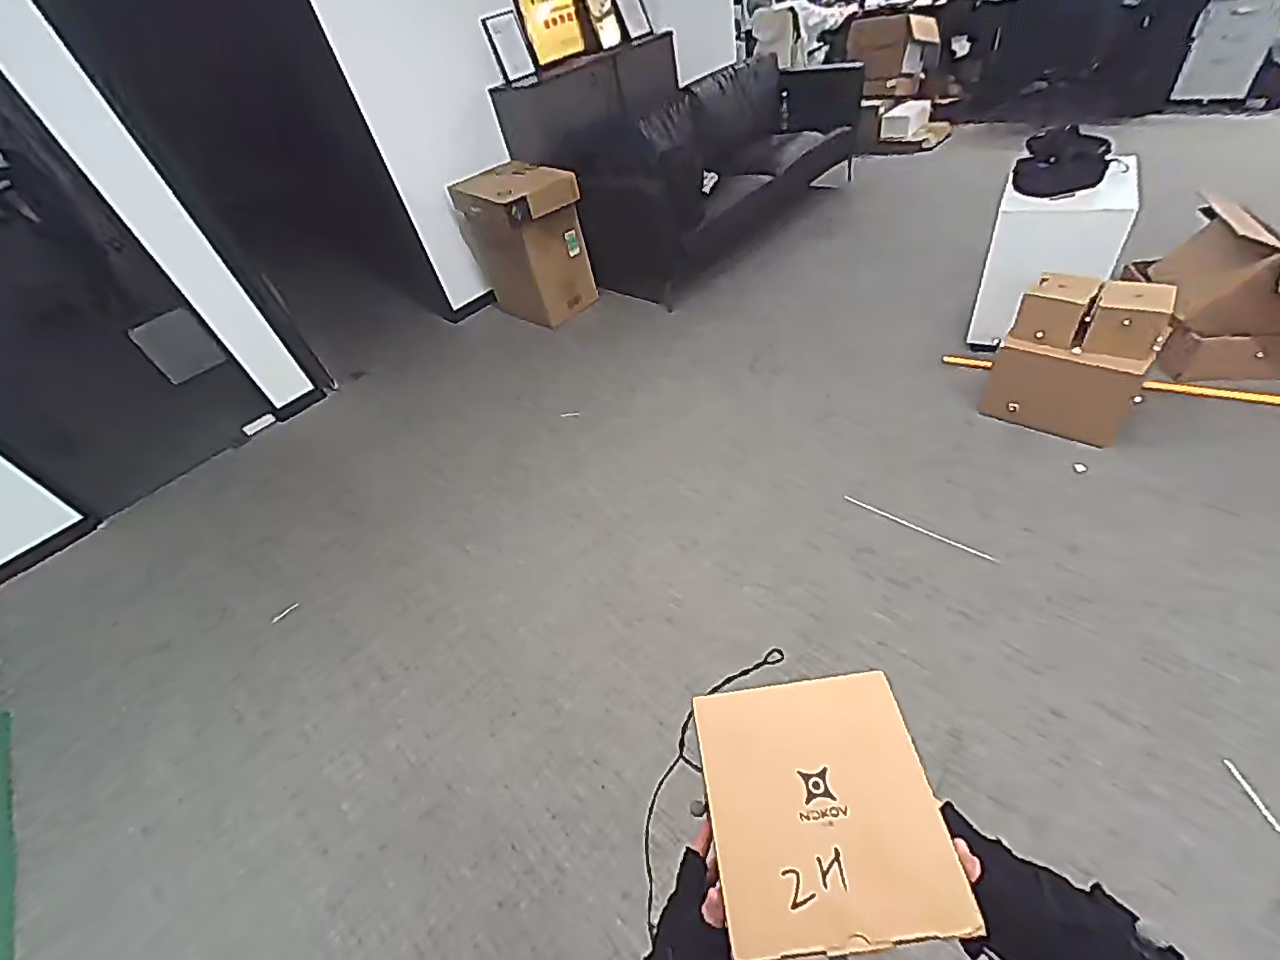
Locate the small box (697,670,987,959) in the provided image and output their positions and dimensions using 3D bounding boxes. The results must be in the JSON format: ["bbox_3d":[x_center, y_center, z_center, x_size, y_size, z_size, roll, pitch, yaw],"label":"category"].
[{"bbox_3d":[0.143,0.287,0.460,0.168,0.176,0.179,-9,49,3],"label":"small box"}]
